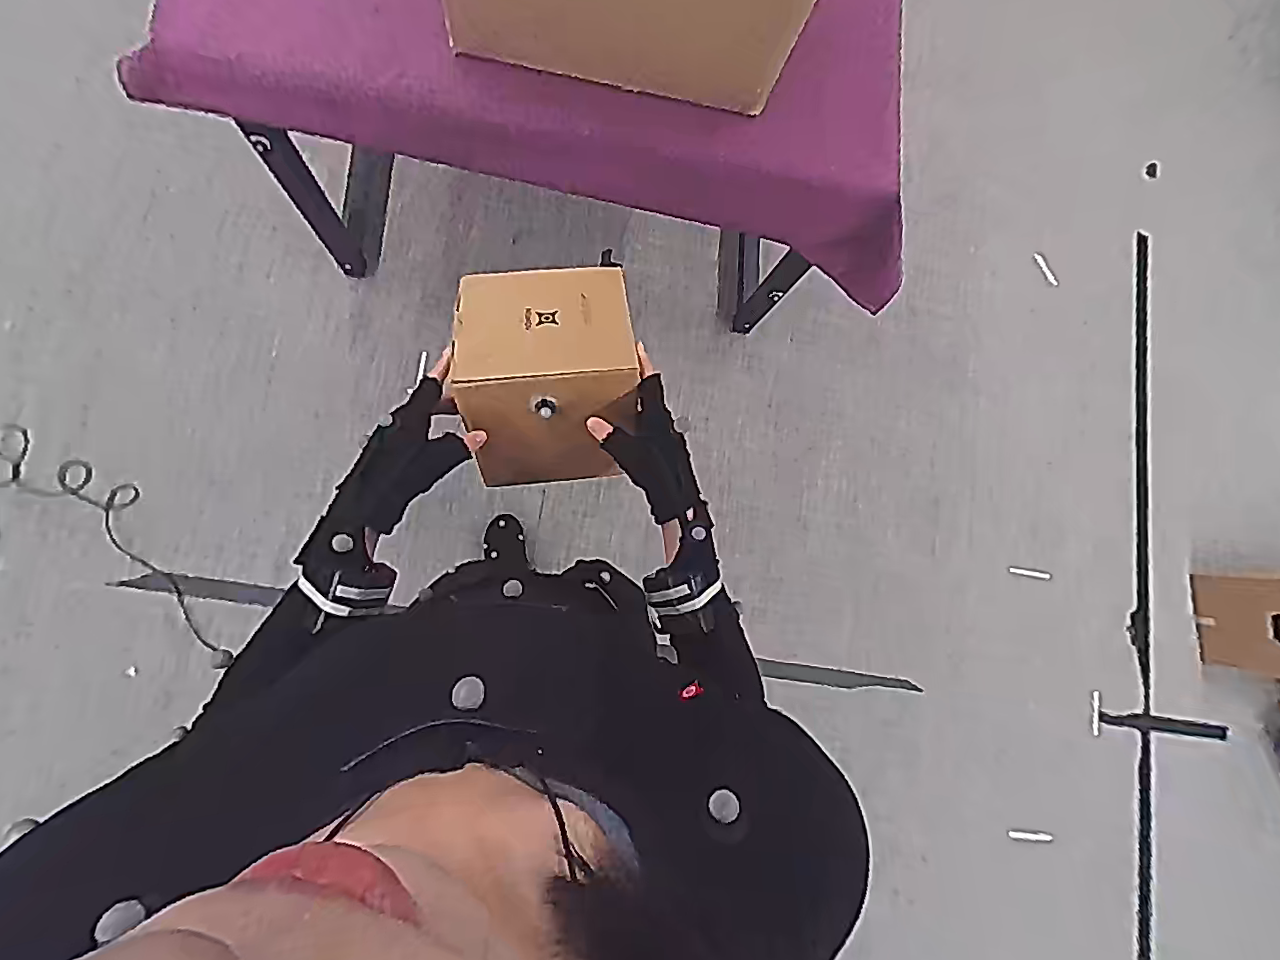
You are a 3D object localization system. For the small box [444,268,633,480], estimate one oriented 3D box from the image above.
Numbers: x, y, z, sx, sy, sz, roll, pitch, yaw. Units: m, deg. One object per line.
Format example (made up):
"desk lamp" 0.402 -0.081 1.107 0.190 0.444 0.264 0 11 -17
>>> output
"small box" -0.102 -0.113 0.604 0.179 0.176 0.168 -4 55 -6
